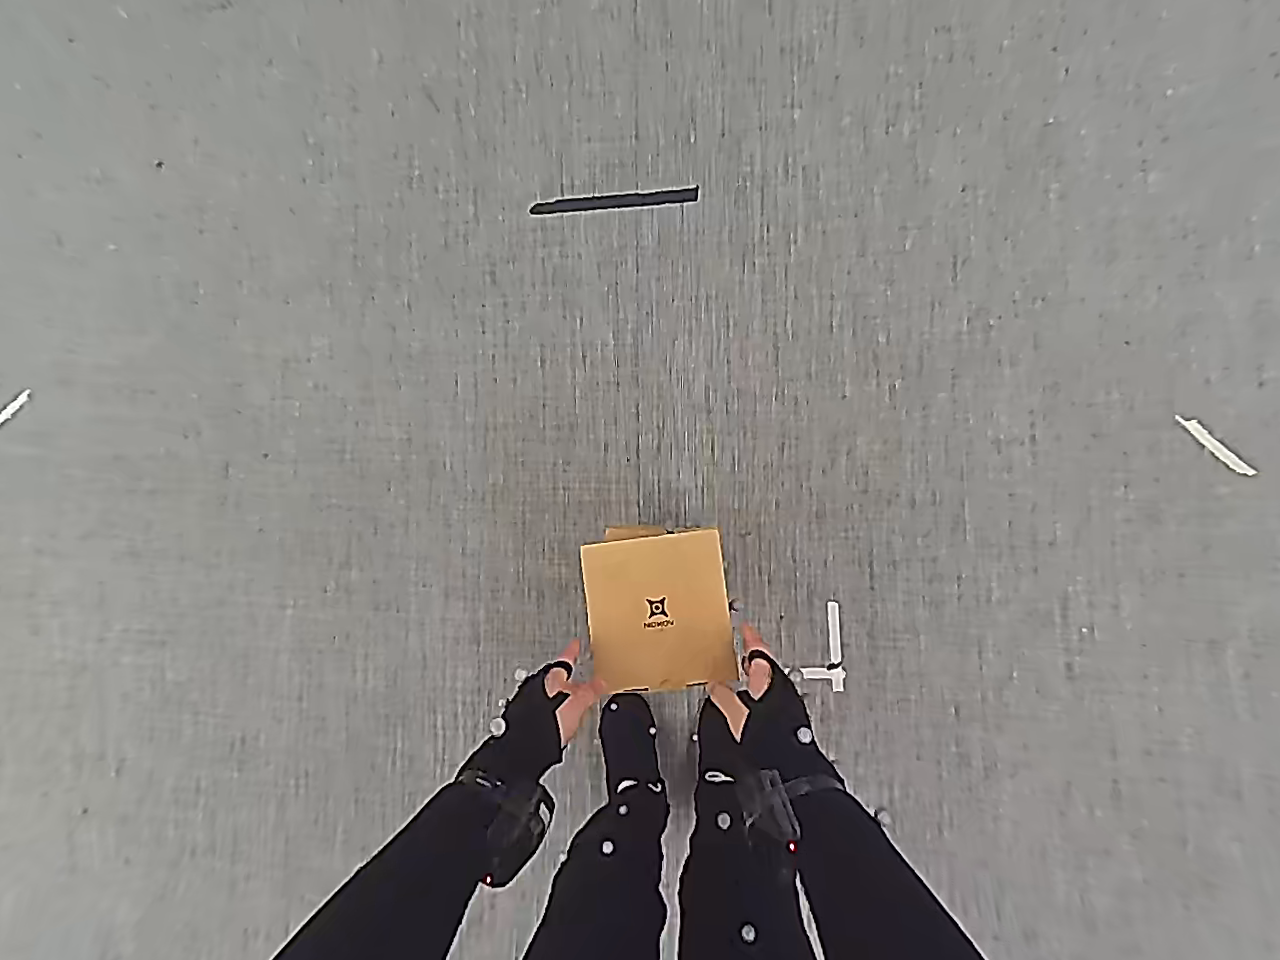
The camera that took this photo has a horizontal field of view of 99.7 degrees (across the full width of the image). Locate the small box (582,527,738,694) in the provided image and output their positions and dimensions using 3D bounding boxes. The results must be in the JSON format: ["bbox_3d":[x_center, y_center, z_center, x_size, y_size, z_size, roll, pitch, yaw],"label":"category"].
[{"bbox_3d":[0.028,0.156,0.700,0.168,0.176,0.179,-8,86,6],"label":"small box"}]
